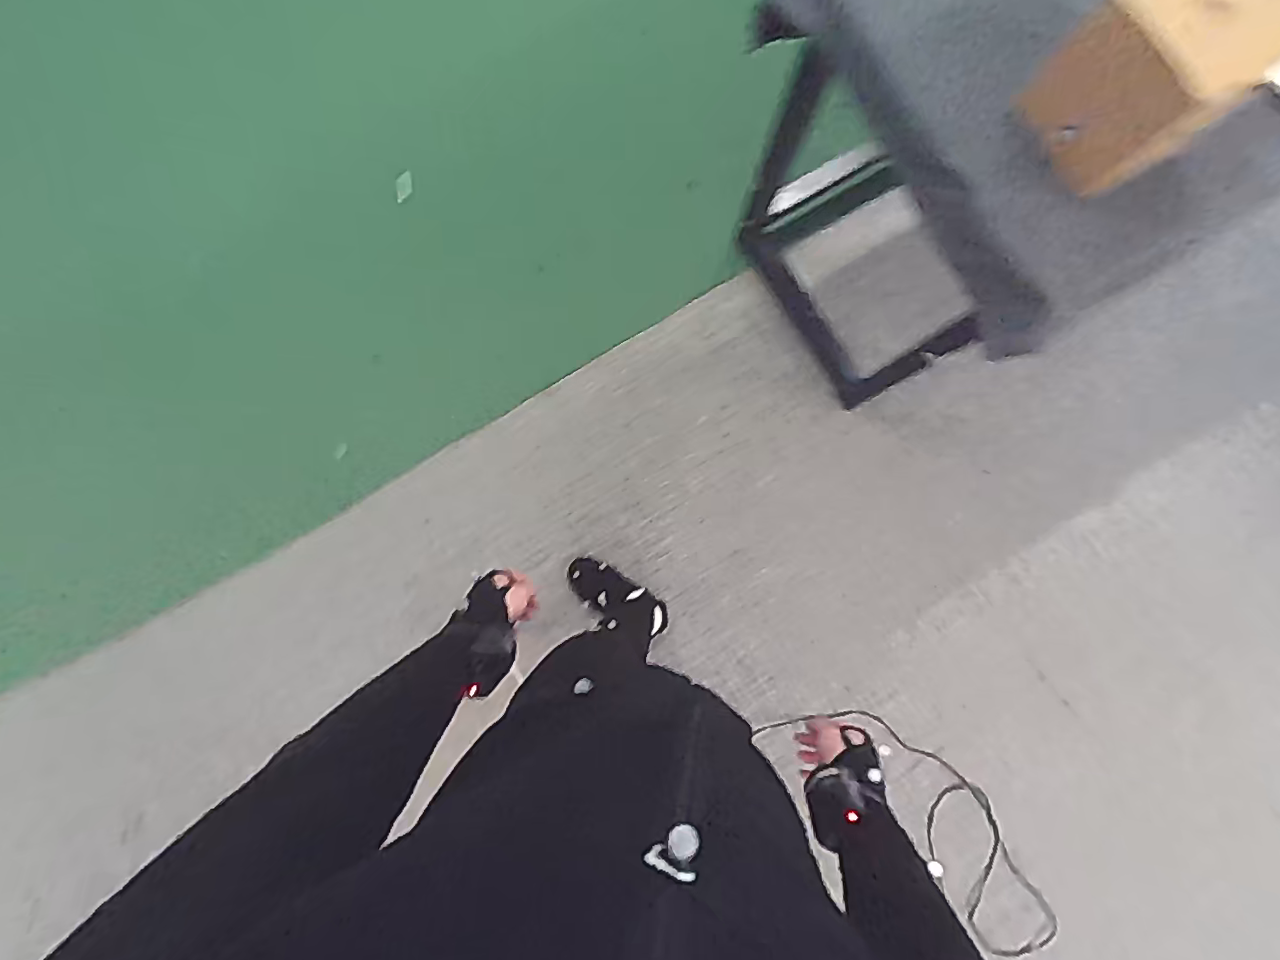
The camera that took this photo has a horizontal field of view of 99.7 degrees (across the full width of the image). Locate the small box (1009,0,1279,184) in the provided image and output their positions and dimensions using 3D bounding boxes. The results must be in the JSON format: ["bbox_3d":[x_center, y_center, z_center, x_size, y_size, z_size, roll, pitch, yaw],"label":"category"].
[{"bbox_3d":[0.626,-0.512,0.679,0.168,0.176,0.179,-31,86,-4],"label":"small box"}]
